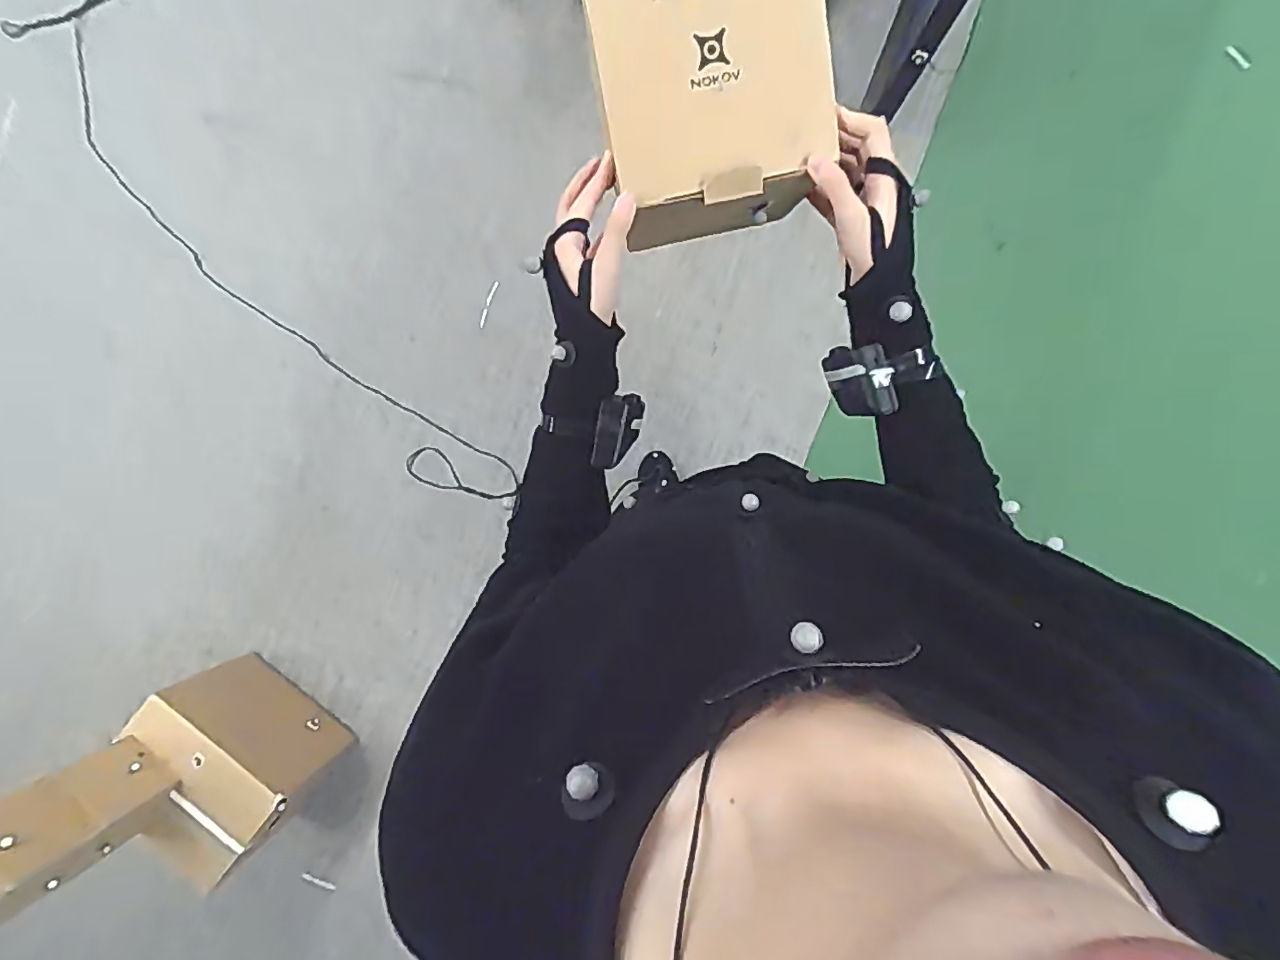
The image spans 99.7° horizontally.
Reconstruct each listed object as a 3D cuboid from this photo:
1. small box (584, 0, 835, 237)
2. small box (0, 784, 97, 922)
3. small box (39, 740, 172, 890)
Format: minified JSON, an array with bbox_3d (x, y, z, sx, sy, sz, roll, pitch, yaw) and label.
[{"bbox_3d":[0.050,-0.318,0.457,0.168,0.176,0.179,-10,102,2],"label":"small box"},{"bbox_3d":[-1.200,0.711,1.009,0.179,0.176,0.168,41,93,1],"label":"small box"},{"bbox_3d":[-1.185,0.713,1.171,0.168,0.176,0.179,40,93,1],"label":"small box"}]
